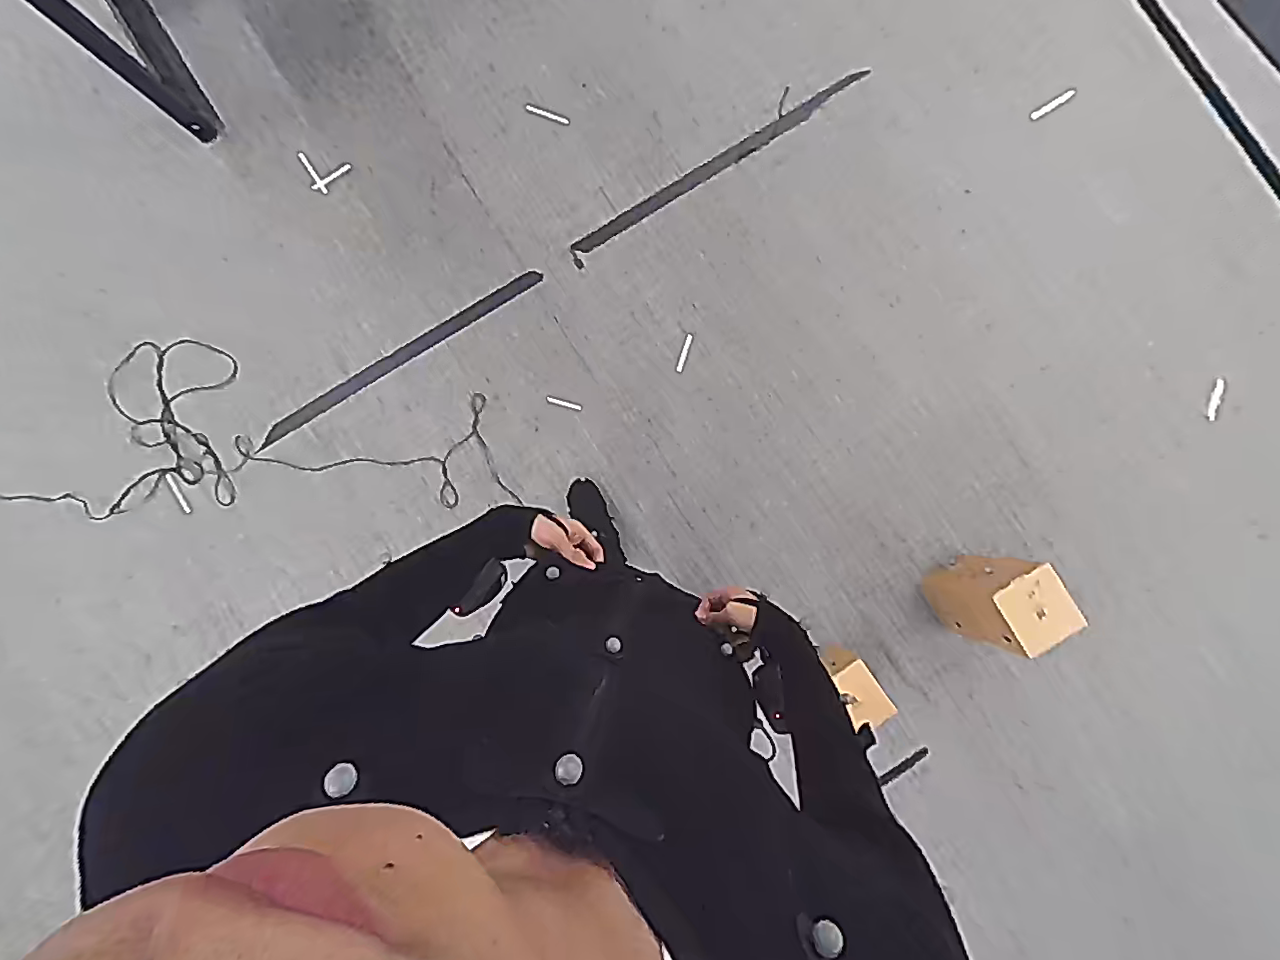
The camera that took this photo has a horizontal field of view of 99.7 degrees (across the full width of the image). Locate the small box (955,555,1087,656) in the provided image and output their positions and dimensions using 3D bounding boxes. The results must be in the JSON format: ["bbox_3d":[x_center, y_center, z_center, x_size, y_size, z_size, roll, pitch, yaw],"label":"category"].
[{"bbox_3d":[0.944,0.306,1.357,0.168,0.176,0.179,-30,87,-2],"label":"small box"}]

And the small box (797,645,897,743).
[{"bbox_3d":[0.570,0.586,1.515,0.168,0.176,0.179,-35,89,-1],"label":"small box"}]

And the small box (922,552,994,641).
[{"bbox_3d":[0.941,0.320,1.521,0.168,0.176,0.179,-30,88,-2],"label":"small box"}]
